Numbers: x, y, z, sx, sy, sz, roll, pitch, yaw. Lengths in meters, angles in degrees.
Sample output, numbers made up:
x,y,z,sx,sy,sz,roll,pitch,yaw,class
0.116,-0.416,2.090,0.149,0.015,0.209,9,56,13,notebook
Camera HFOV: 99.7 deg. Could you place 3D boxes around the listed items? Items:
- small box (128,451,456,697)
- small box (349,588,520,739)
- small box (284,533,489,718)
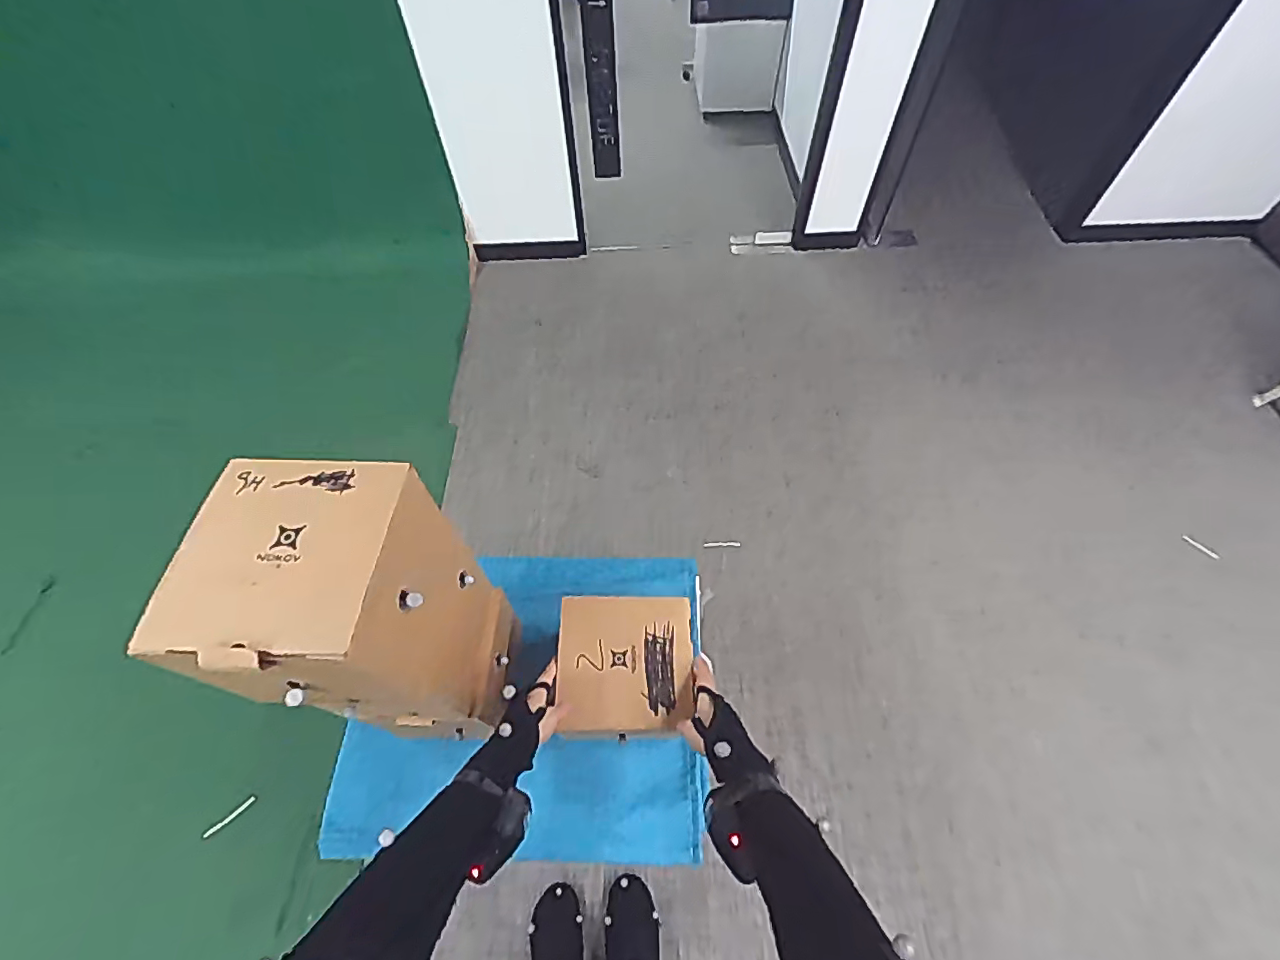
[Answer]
x,y,z,sx,sy,sz,roll,pitch,yaw,class
-0.287,0.094,0.502,0.168,0.176,0.179,3,56,1,small box
-0.277,0.266,0.780,0.168,0.176,0.179,2,55,1,small box
-0.291,0.176,0.644,0.168,0.176,0.179,3,55,2,small box
